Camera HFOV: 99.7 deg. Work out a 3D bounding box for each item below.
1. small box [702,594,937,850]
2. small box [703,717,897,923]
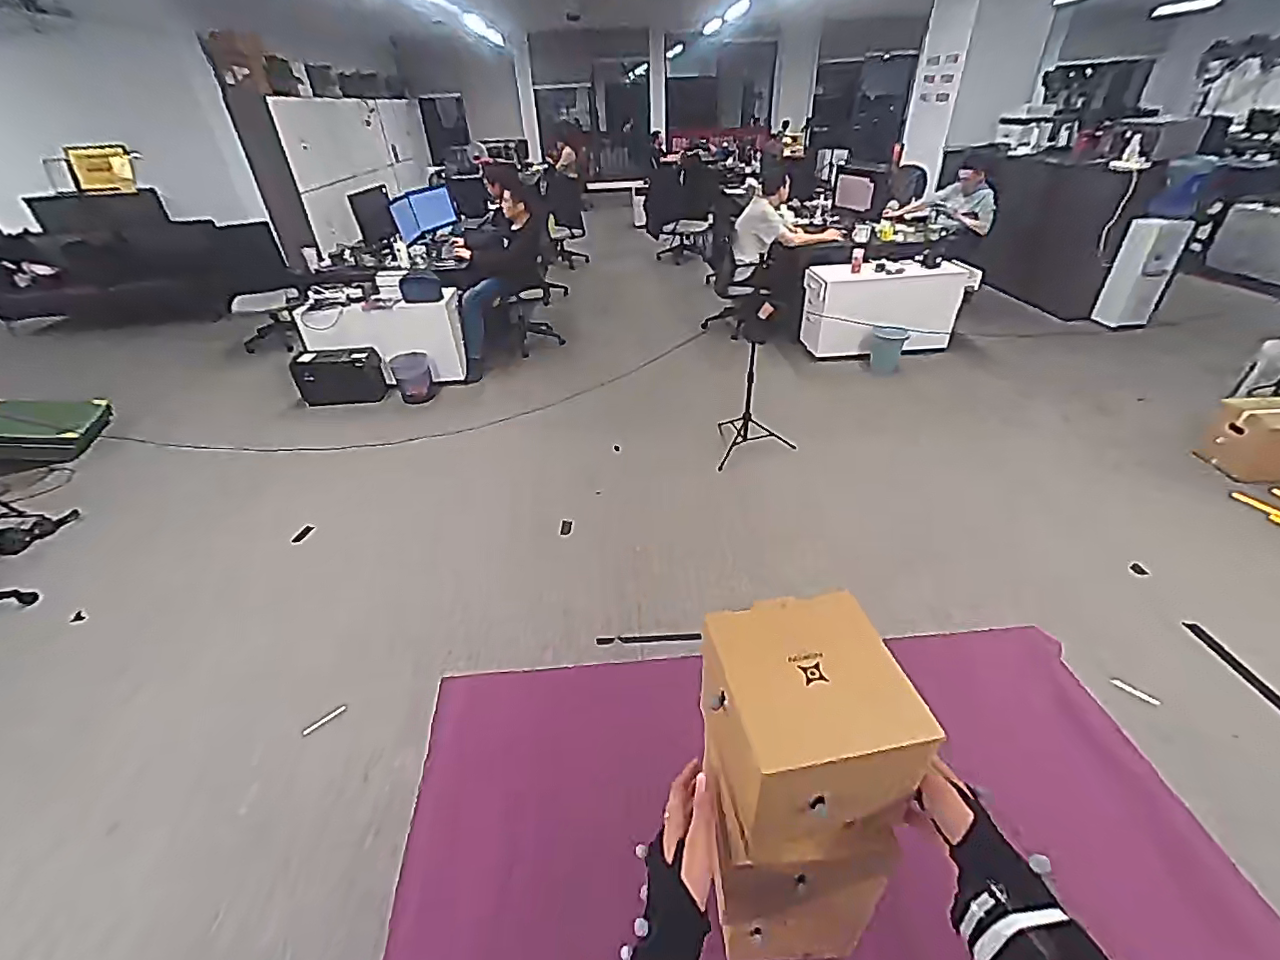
[{"bbox_3d":[0.166,0.250,0.561,0.168,0.176,0.179,-8,33,-6],"label":"small box"},{"bbox_3d":[0.170,0.395,0.639,0.179,0.176,0.168,-3,35,0],"label":"small box"}]
